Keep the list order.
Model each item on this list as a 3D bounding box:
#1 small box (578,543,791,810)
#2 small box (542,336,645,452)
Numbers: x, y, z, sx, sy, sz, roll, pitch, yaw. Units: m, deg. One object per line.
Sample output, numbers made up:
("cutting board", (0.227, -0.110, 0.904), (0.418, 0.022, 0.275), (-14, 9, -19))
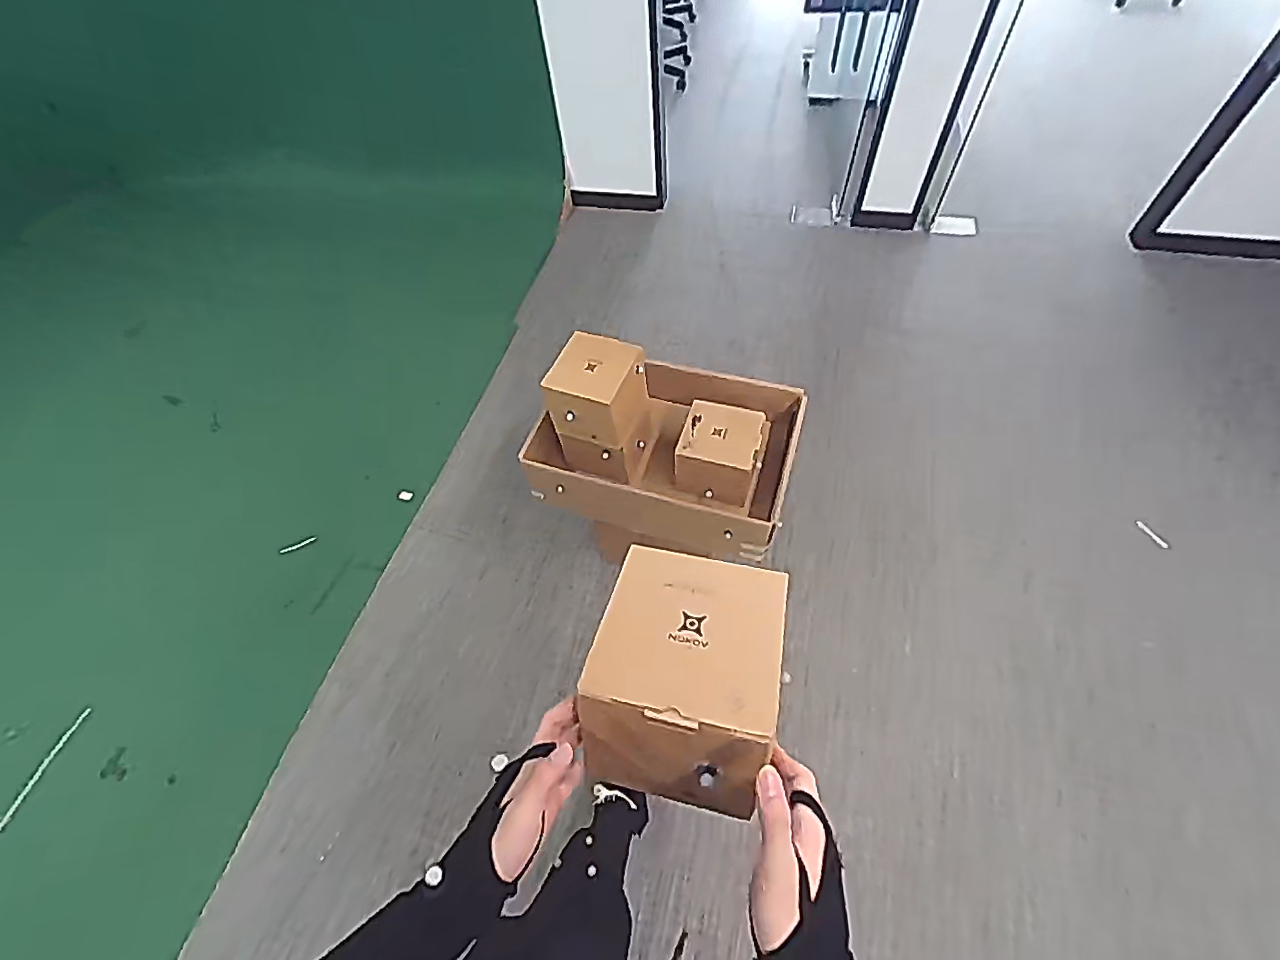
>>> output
("small box", (0.050, 0.196, 0.547), (0.168, 0.176, 0.179), (11, 40, 12))
("small box", (-0.093, -0.190, 1.217), (0.168, 0.176, 0.179), (17, 59, 15))
